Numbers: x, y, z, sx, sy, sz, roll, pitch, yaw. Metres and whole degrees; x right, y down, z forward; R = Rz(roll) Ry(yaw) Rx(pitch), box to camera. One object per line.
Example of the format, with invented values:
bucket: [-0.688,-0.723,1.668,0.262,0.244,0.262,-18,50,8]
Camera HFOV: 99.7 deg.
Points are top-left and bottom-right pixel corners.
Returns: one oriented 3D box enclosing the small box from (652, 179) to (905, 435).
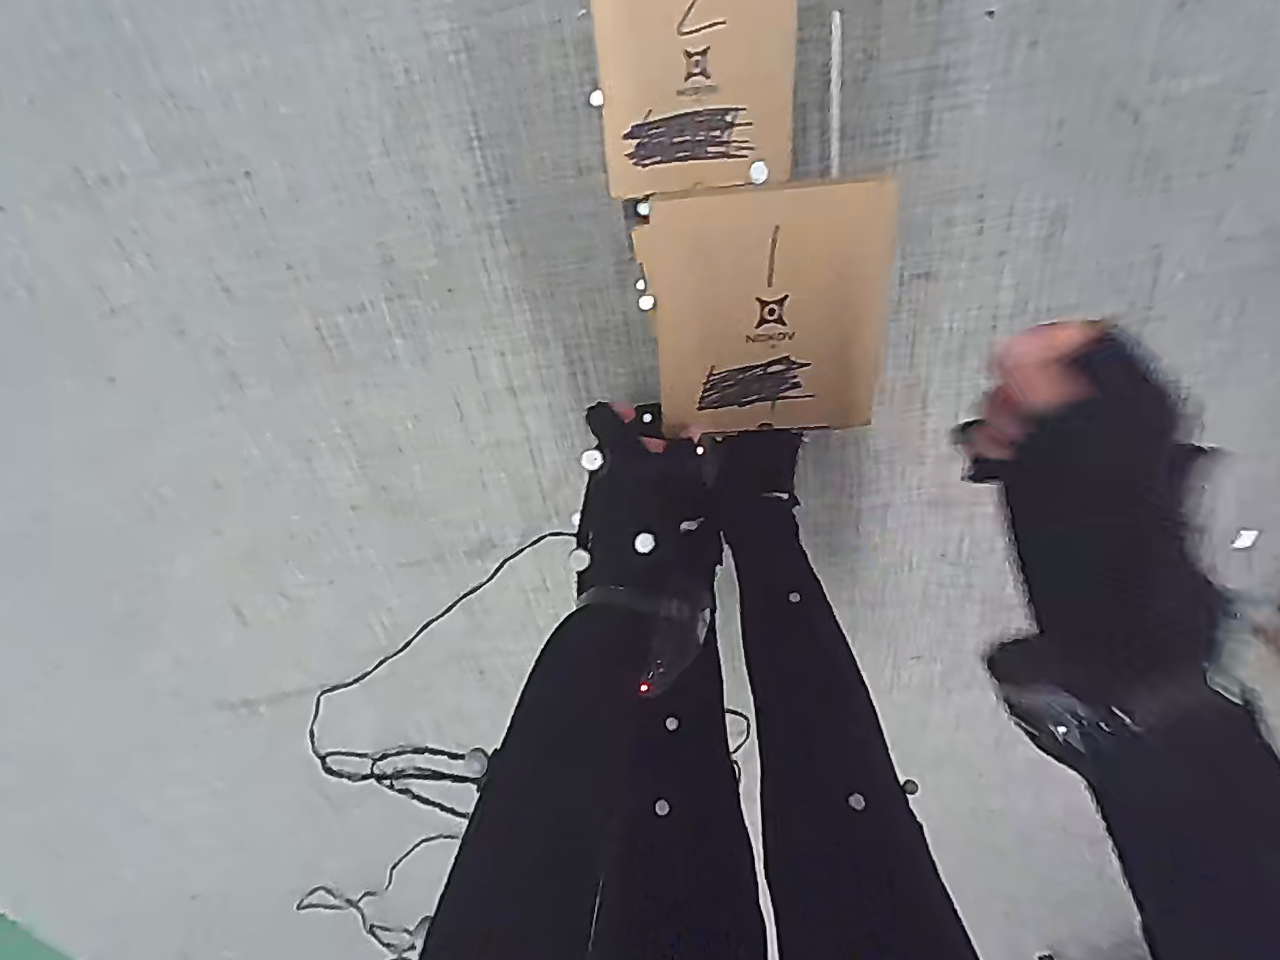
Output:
small box: [0.099,-0.153,0.462,0.168,0.176,0.179,-3,118,4]
